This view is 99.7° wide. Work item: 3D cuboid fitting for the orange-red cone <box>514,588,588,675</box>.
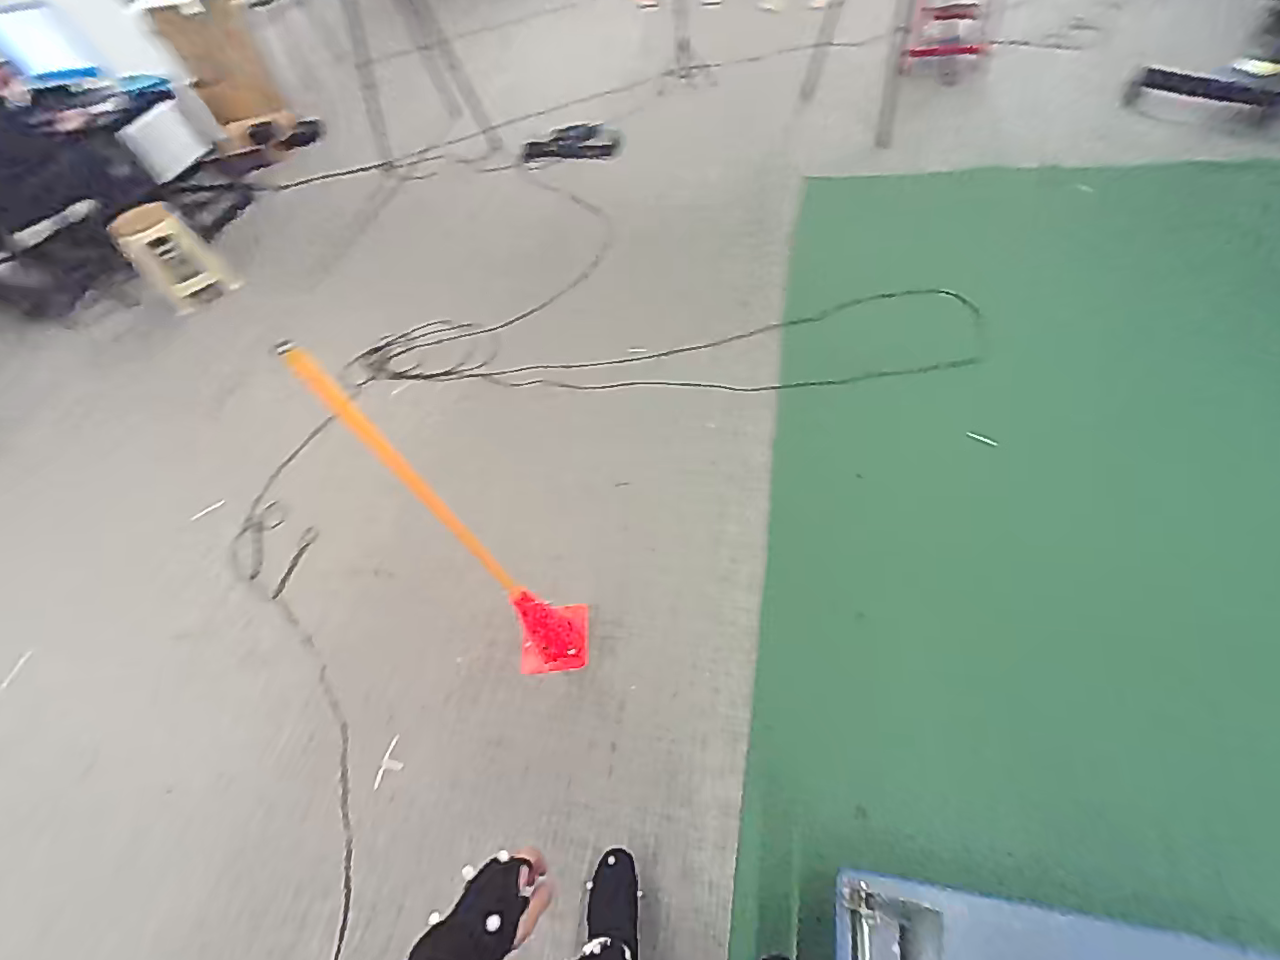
[{"bbox_3d":[-0.281,0.392,1.516,0.198,0.360,0.199,-7,53,5],"label":"orange-red cone"}]
